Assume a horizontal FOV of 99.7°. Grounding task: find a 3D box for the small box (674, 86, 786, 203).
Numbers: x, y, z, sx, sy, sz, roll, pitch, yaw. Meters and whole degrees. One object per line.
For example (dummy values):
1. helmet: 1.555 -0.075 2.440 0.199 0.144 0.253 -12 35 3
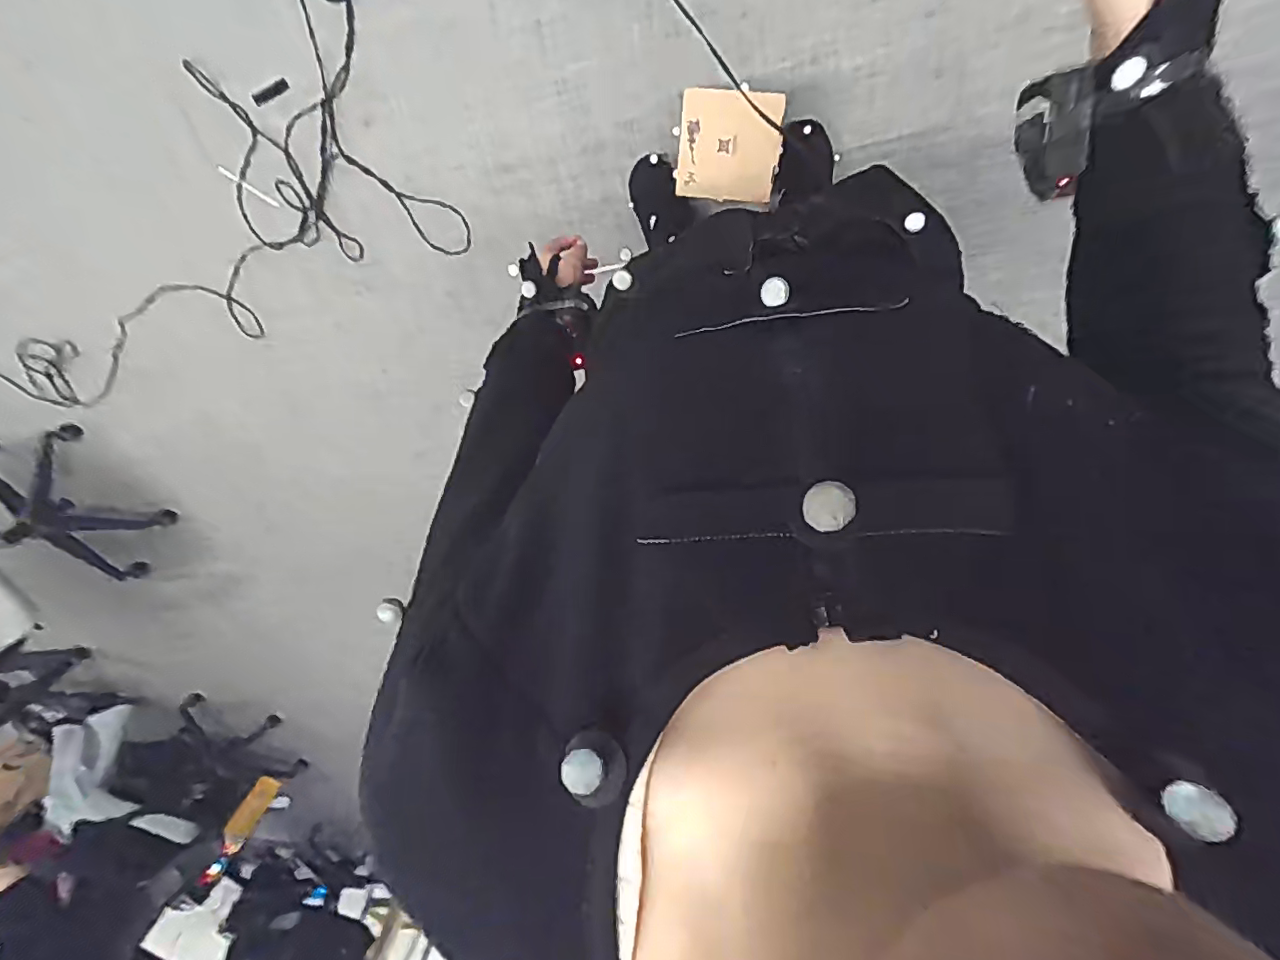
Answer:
1. small box: 0.161 -0.629 1.016 0.179 0.176 0.168 7 123 3
